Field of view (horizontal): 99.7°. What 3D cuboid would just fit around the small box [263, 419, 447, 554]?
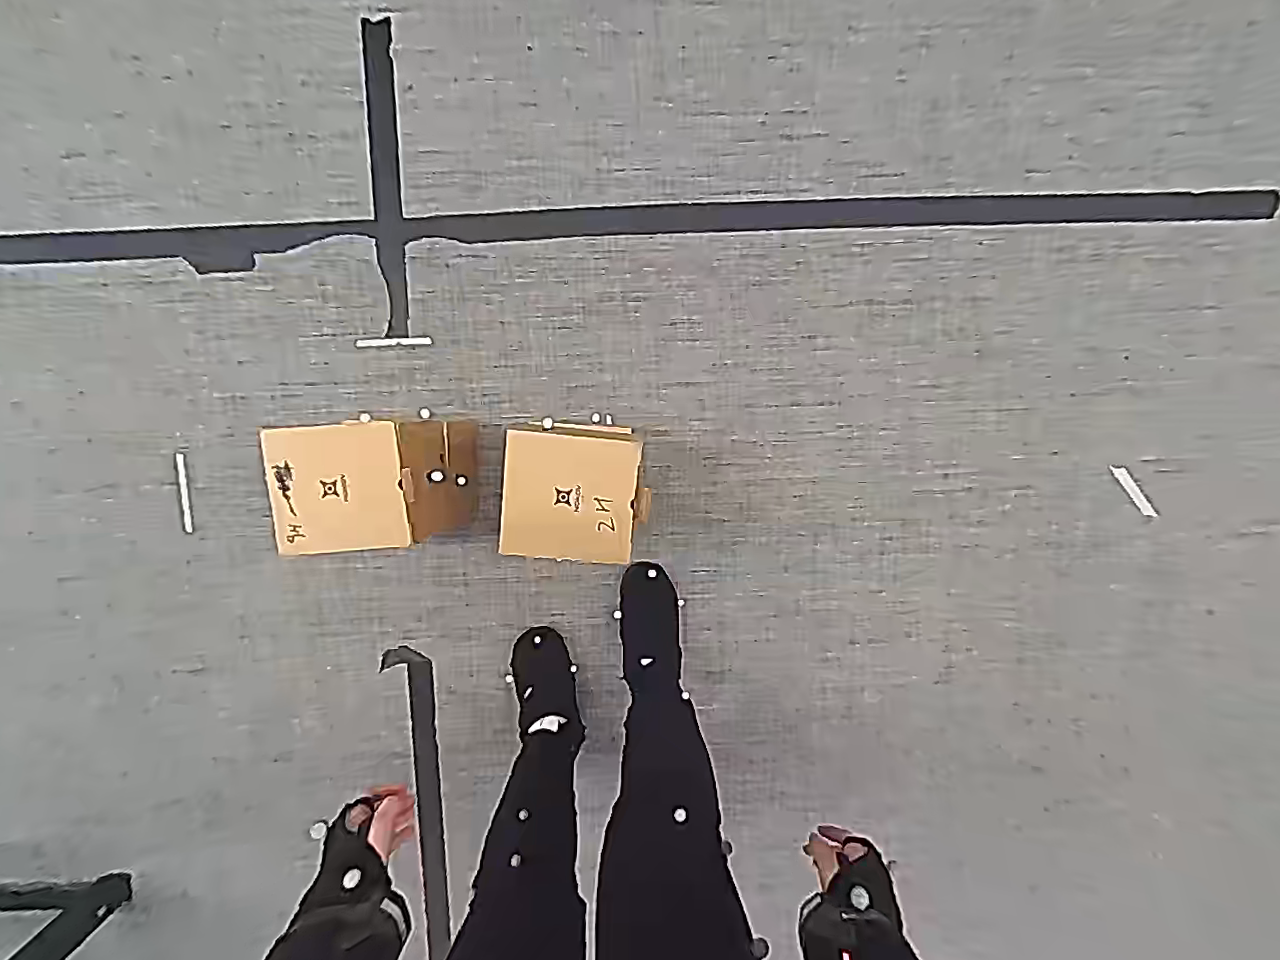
[{"bbox_3d":[-0.384,0.001,0.765,0.179,0.176,0.168,-3,97,-2],"label":"small box"}]

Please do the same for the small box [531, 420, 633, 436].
[{"bbox_3d":[-0.100,-0.010,0.938,0.168,0.176,0.179,5,97,-3],"label":"small box"}]

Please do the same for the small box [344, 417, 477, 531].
[{"bbox_3d":[-0.383,-0.017,0.928,0.168,0.176,0.179,1,97,-2],"label":"small box"}]

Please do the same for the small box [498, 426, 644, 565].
[{"bbox_3d":[-0.092,0.013,0.775,0.179,0.176,0.168,6,98,-3],"label":"small box"}]
